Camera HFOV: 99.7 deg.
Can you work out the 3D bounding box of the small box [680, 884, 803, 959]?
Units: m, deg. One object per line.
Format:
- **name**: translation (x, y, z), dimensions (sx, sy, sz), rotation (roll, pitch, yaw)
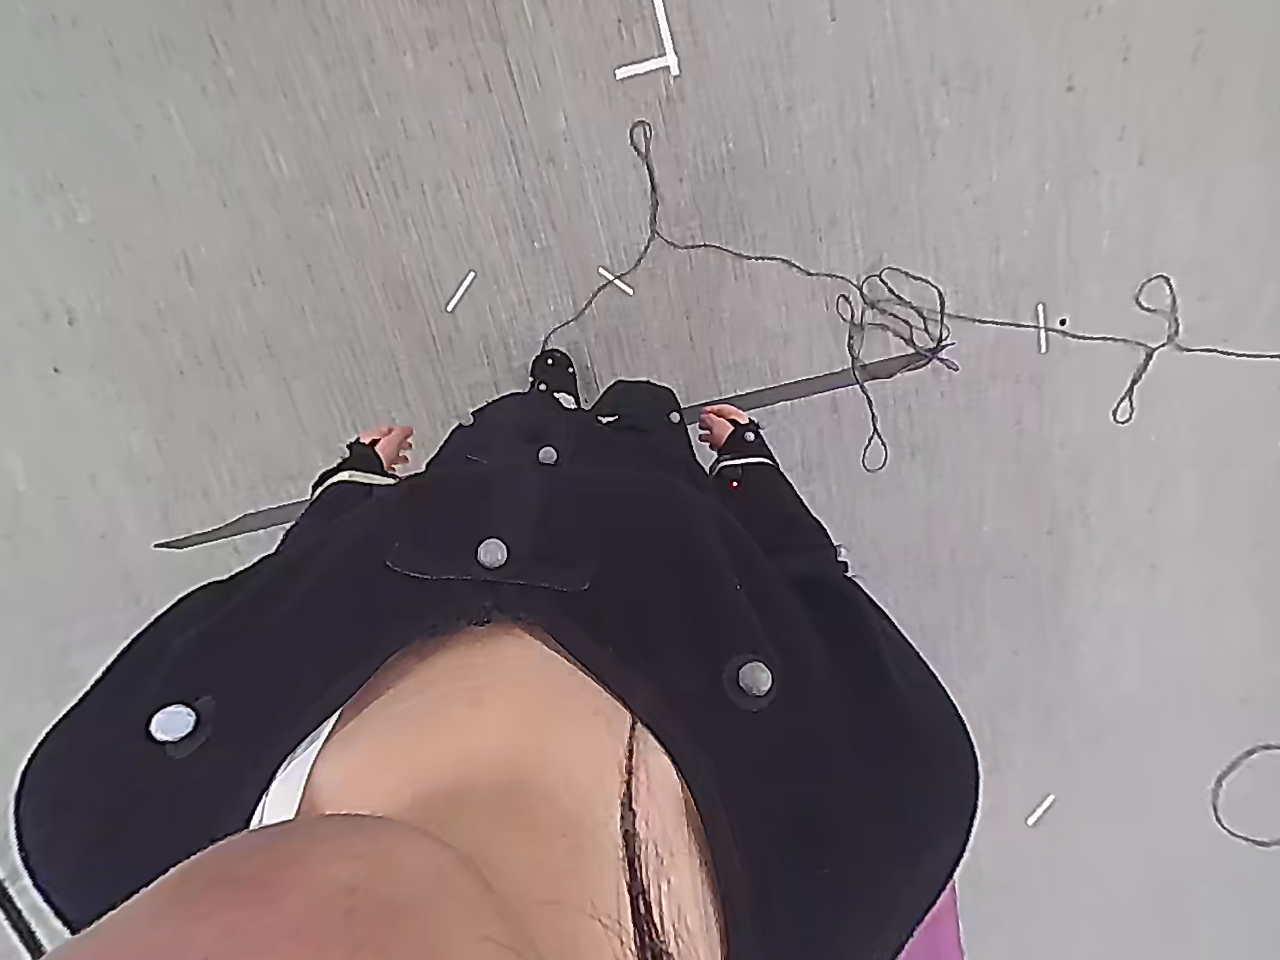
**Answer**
- **small box**: translation (0.168, 0.784, 0.854), dimensions (0.168, 0.176, 0.179), rotation (-14, 103, -3)
